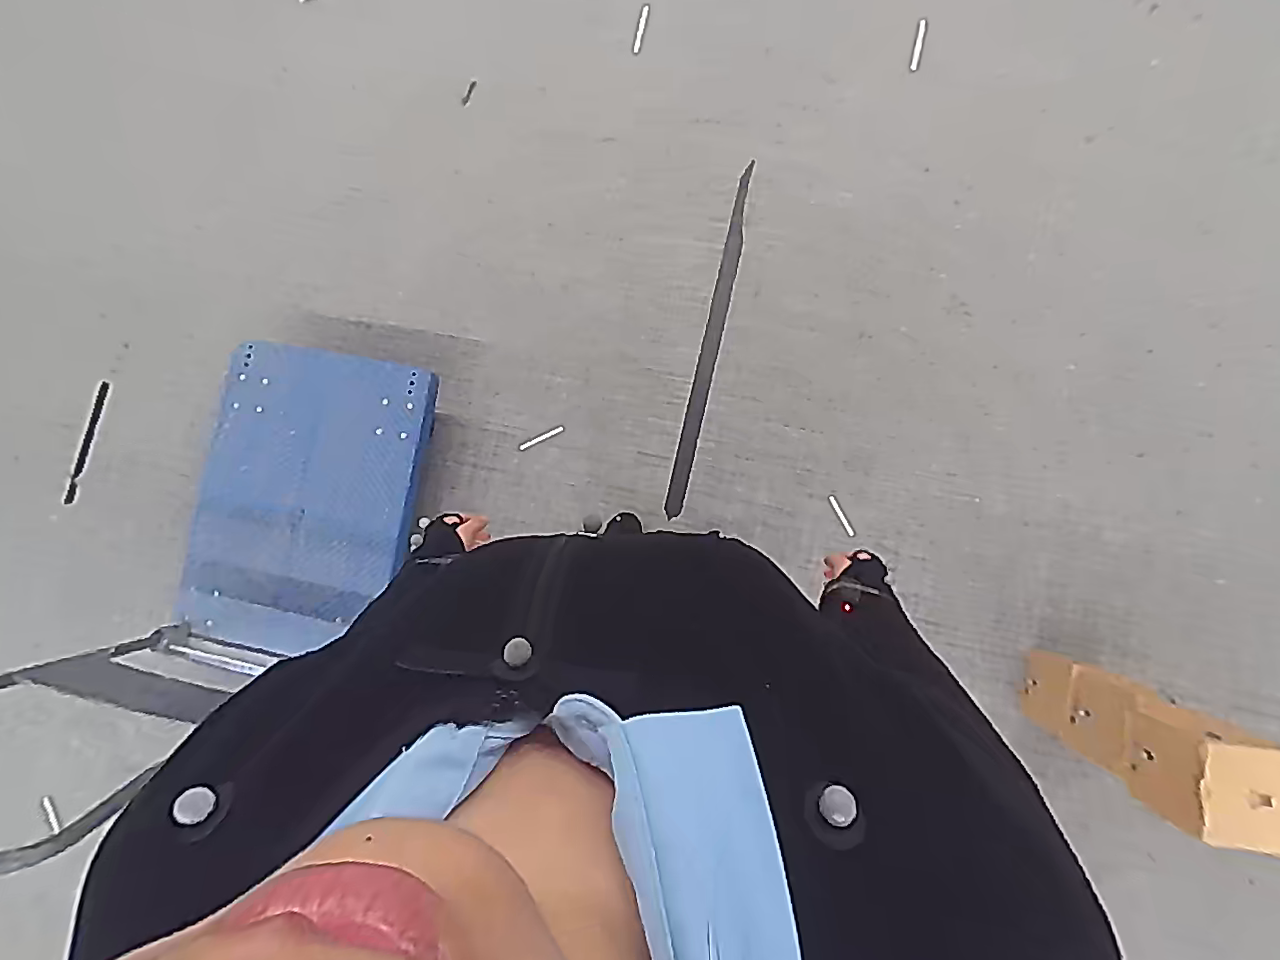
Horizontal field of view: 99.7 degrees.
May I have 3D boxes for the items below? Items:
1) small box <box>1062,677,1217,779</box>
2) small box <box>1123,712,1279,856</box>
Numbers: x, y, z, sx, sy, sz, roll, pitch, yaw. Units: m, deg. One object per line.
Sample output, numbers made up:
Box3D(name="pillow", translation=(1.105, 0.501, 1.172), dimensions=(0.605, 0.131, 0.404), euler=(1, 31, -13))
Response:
Box3D(name="small box", translation=(1.036, 0.528, 1.120), dimensions=(0.179, 0.176, 0.168), euler=(16, 86, 7))
Box3D(name="small box", translation=(1.018, 0.528, 0.958), dimensions=(0.179, 0.176, 0.168), euler=(4, 86, 7))
